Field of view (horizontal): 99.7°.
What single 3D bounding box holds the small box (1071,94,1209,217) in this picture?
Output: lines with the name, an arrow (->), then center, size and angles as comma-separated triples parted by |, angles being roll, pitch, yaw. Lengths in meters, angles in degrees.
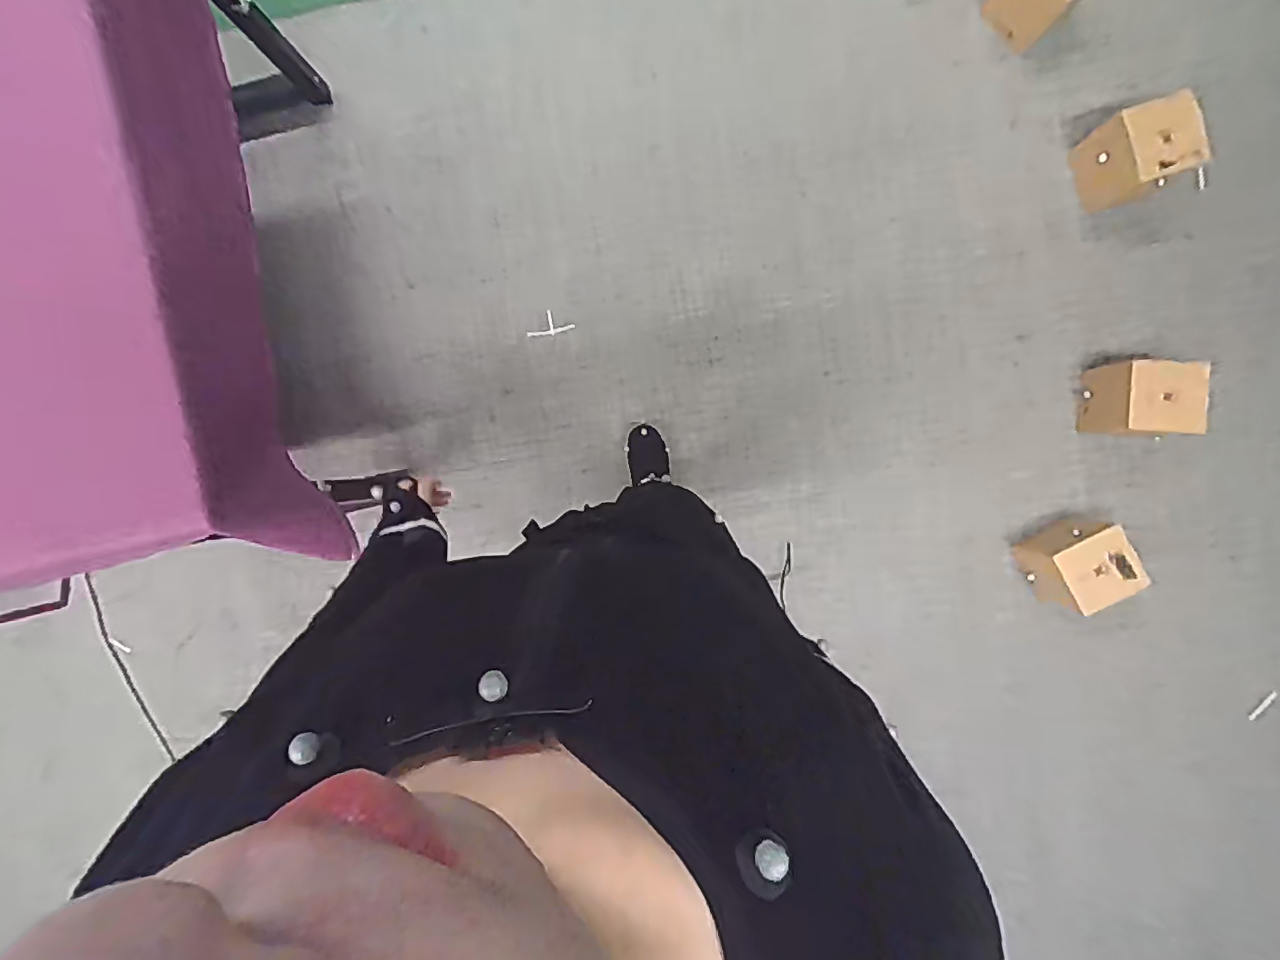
small box -> 1.219, -0.791, 1.334 | 0.168, 0.176, 0.179 | -16, 89, 3

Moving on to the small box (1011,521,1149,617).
small box -> 1.092, 0.215, 1.358 | 0.179, 0.176, 0.168 | -28, 89, 3

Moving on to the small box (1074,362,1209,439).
small box -> 1.238, -0.192, 1.344 | 0.179, 0.176, 0.168 | 4, 91, 3
